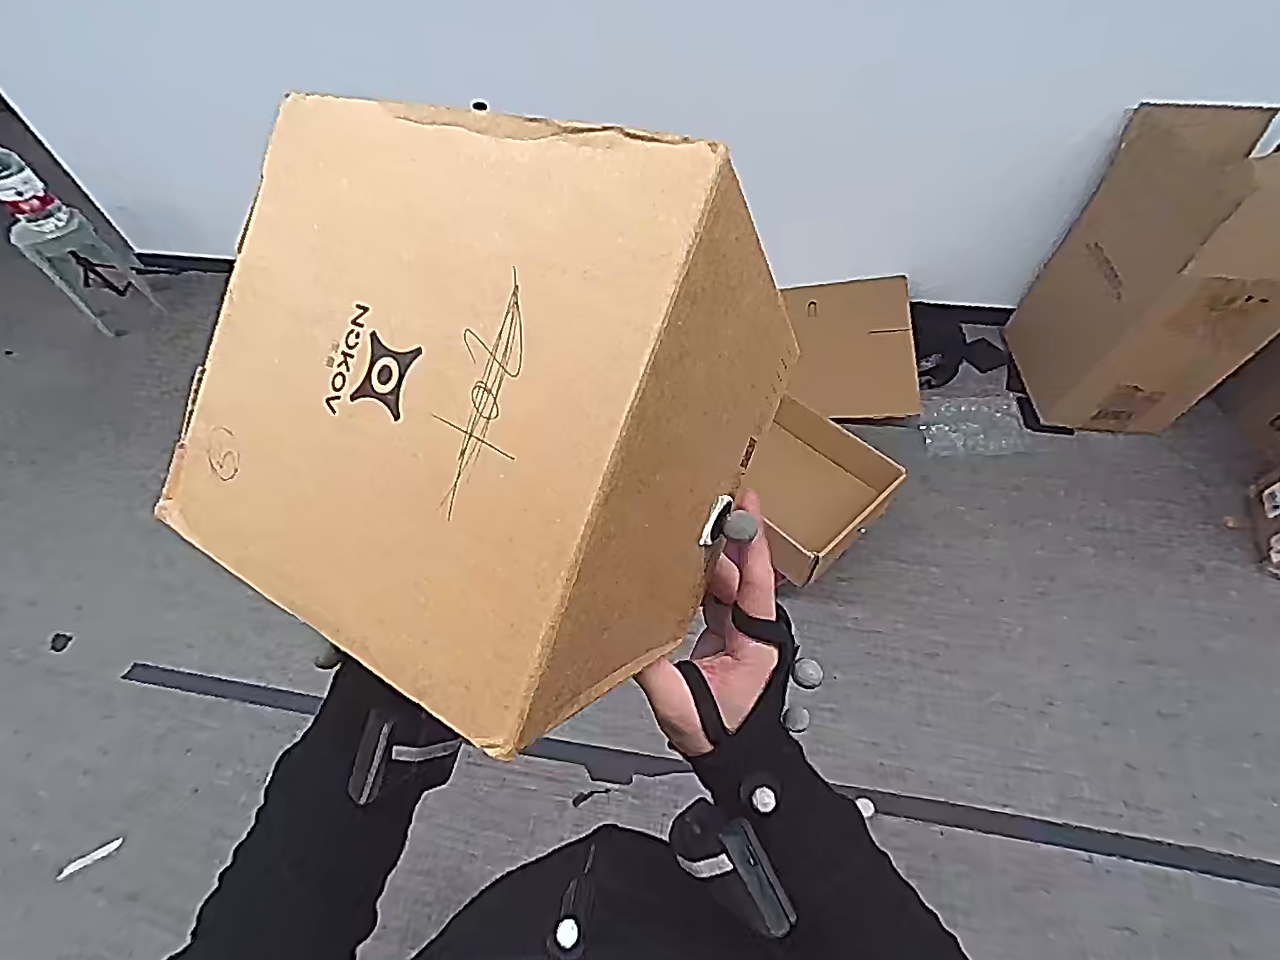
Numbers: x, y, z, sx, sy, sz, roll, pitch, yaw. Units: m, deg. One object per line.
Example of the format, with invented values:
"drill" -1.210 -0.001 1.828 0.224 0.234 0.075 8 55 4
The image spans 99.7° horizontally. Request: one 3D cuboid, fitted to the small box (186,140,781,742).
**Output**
"small box" -0.051 -0.021 0.255 0.179 0.176 0.168 22 94 22
